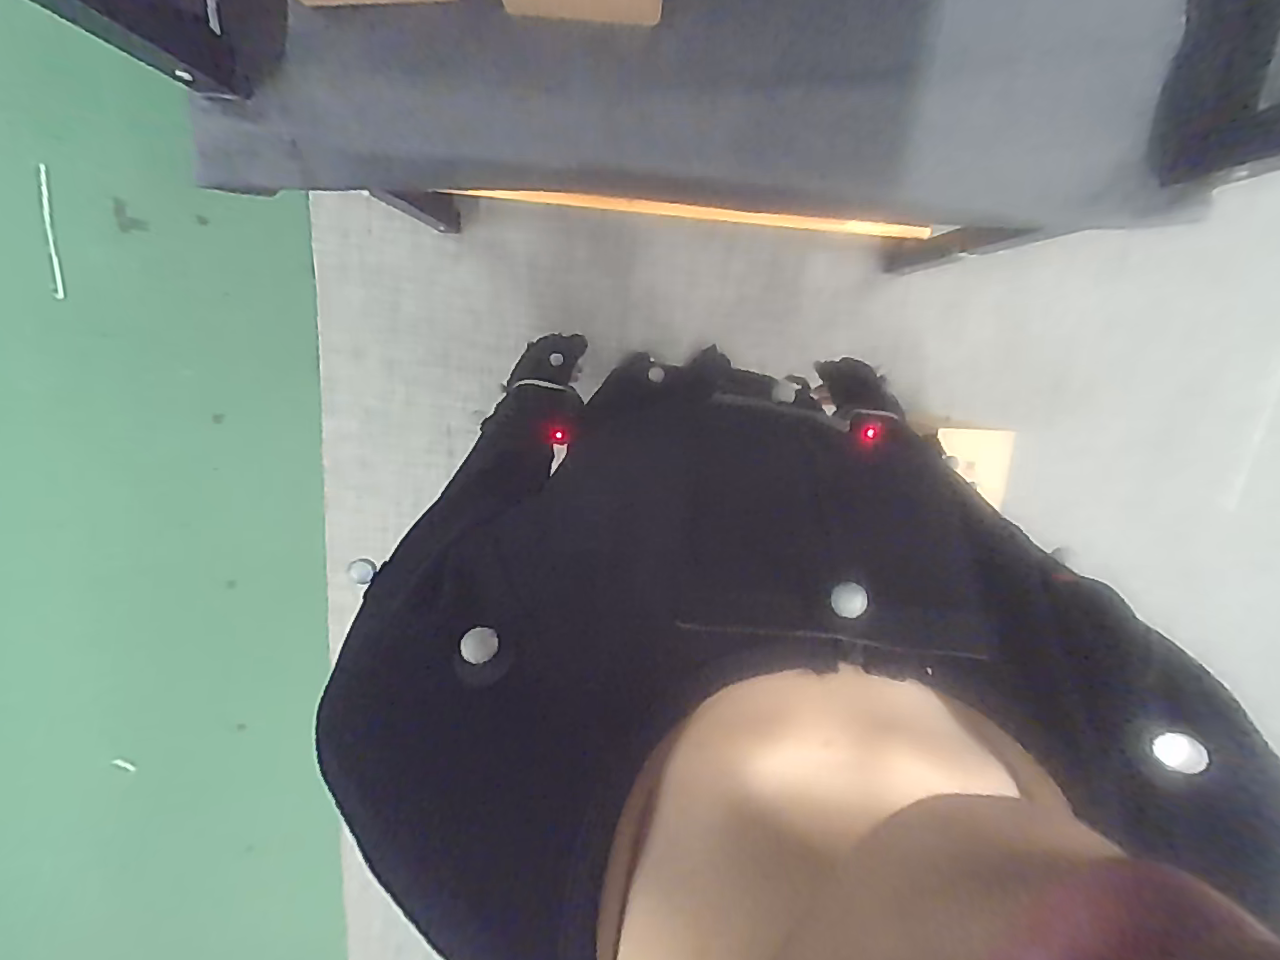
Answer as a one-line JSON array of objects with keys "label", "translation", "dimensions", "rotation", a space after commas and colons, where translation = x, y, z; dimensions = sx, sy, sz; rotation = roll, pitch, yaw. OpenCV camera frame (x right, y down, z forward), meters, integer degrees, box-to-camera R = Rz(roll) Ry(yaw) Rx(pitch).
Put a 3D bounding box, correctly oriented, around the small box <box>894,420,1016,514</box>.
[{"label": "small box", "translation": [0.696, -0.033, 1.219], "dimensions": [0.168, 0.176, 0.179], "rotation": [3, 103, 0]}]
